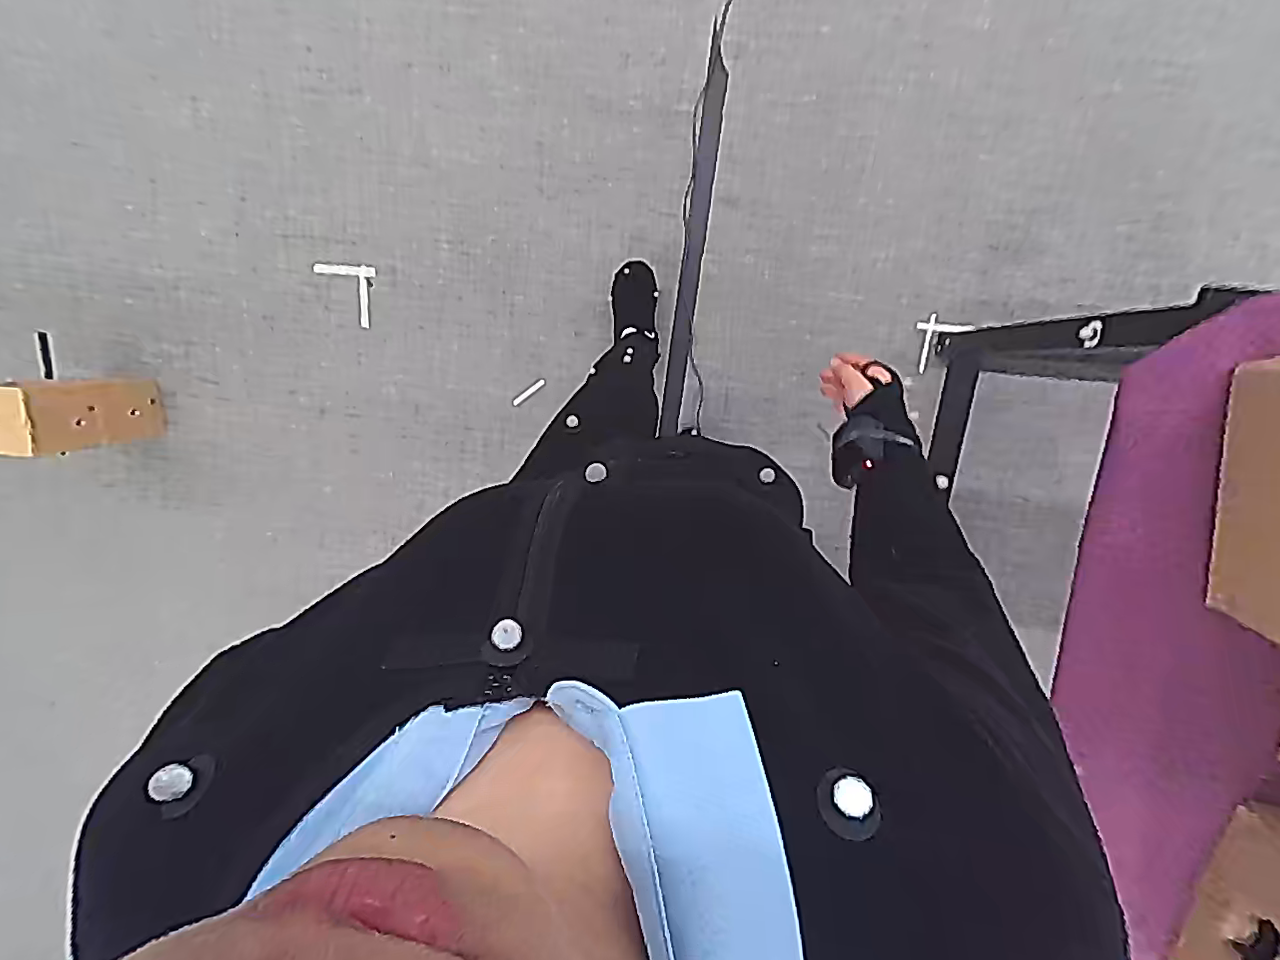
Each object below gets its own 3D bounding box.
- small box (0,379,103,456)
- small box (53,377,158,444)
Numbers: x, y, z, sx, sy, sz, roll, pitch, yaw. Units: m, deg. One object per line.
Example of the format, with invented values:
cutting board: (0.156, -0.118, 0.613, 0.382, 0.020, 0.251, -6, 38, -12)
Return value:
small box: (-1.514, -0.161, 1.349, 0.179, 0.176, 0.168, 5, 104, 4)
small box: (-1.496, -0.198, 1.506, 0.179, 0.176, 0.168, 4, 103, 6)
